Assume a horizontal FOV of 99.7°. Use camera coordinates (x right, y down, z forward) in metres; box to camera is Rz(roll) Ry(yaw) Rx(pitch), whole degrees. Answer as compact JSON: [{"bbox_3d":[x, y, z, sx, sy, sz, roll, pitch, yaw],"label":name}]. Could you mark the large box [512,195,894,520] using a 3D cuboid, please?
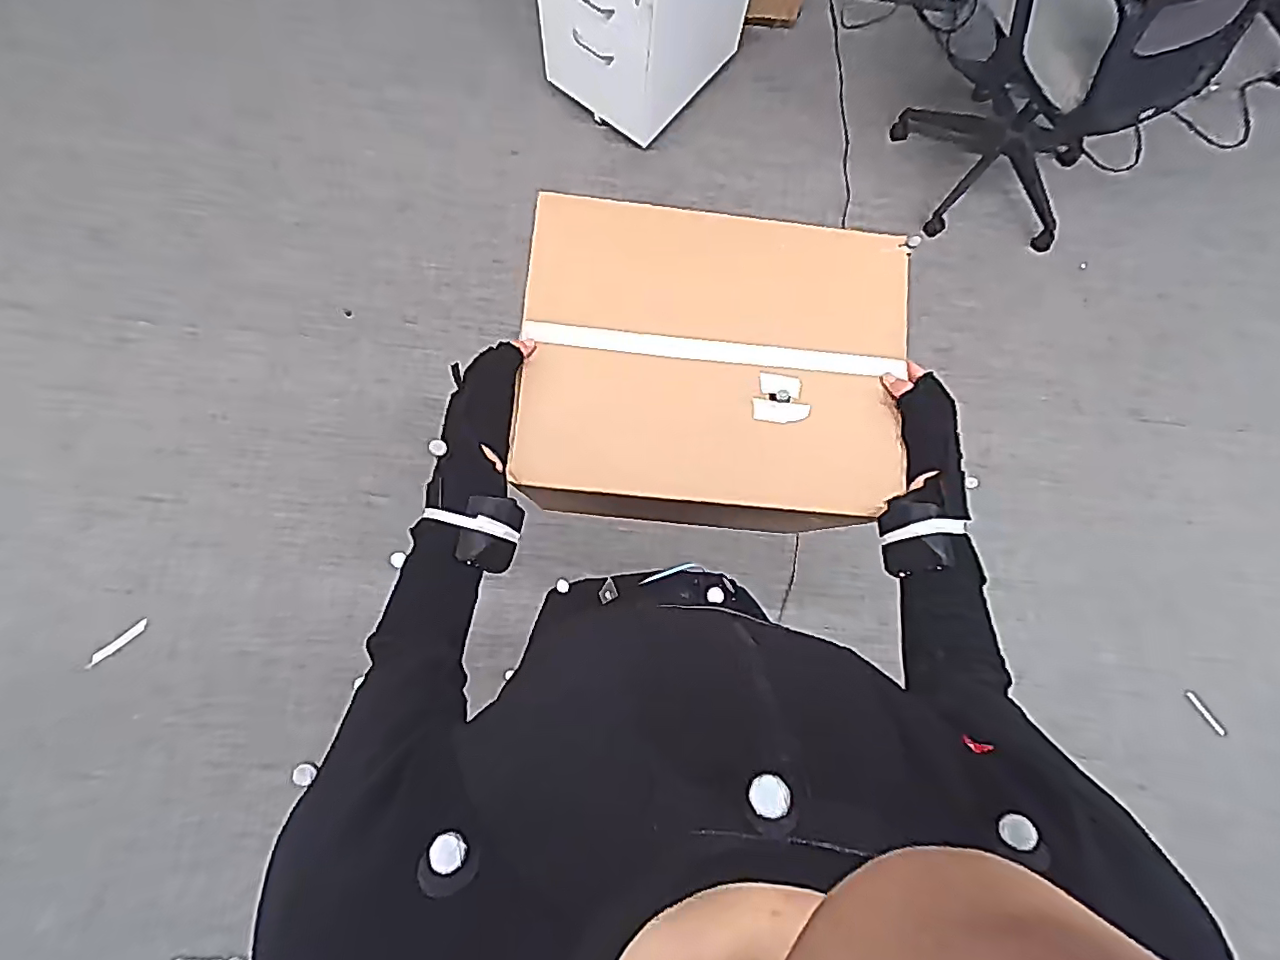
[{"bbox_3d":[0.063,-0.122,0.722,0.408,0.320,0.320,6,83,-4],"label":"large box"}]
